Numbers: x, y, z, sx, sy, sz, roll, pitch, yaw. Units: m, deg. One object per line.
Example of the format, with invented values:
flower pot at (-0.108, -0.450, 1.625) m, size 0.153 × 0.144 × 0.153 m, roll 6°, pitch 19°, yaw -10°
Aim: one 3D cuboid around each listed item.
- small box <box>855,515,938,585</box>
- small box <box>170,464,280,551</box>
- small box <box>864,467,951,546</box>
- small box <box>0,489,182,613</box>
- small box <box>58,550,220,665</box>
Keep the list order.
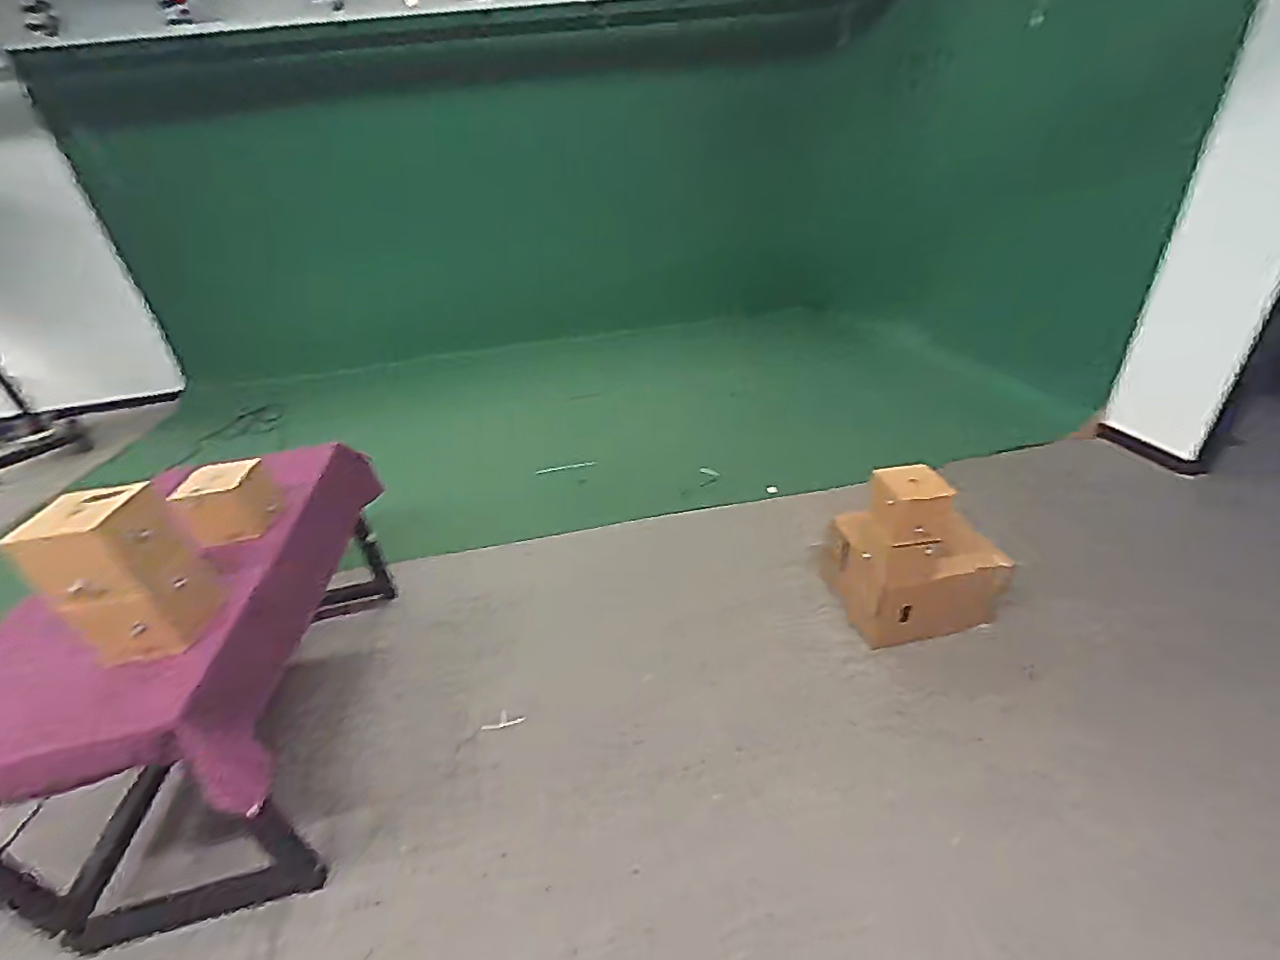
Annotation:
small box at (0.822, 0.218, 1.751) m, size 0.179 × 0.176 × 0.168 m, roll -8°, pitch 31°, yaw -4°
small box at (-1.164, 0.077, 1.537) m, size 0.168 × 0.176 × 0.179 m, roll -10°, pitch 31°, yaw -6°
small box at (0.812, 0.080, 1.663) m, size 0.168 × 0.176 × 0.179 m, roll -7°, pitch 33°, yaw -4°
small box at (-1.092, 0.141, 1.101) m, size 0.168 × 0.176 × 0.179 m, roll -9°, pitch 32°, yaw -6°
small box at (-1.073, 0.283, 1.181) m, size 0.168 × 0.176 × 0.179 m, roll -9°, pitch 31°, yaw -5°
